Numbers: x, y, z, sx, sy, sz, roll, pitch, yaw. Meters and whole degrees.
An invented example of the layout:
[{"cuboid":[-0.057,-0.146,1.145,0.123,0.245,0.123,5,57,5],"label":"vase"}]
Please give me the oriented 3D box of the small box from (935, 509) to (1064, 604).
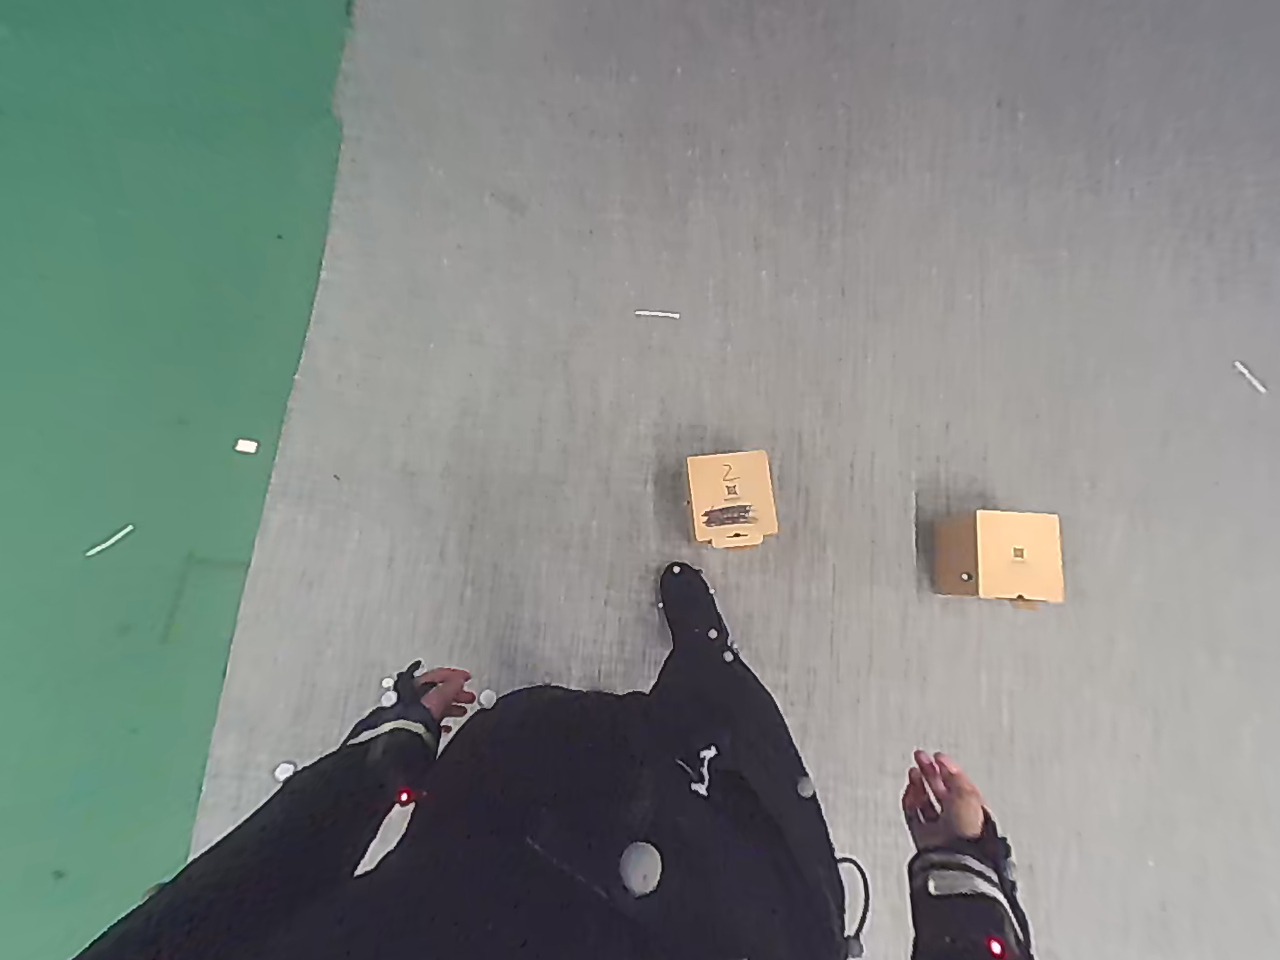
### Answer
[{"cuboid":[0.743,0.163,1.136,0.168,0.176,0.179,4,81,1],"label":"small box"}]
